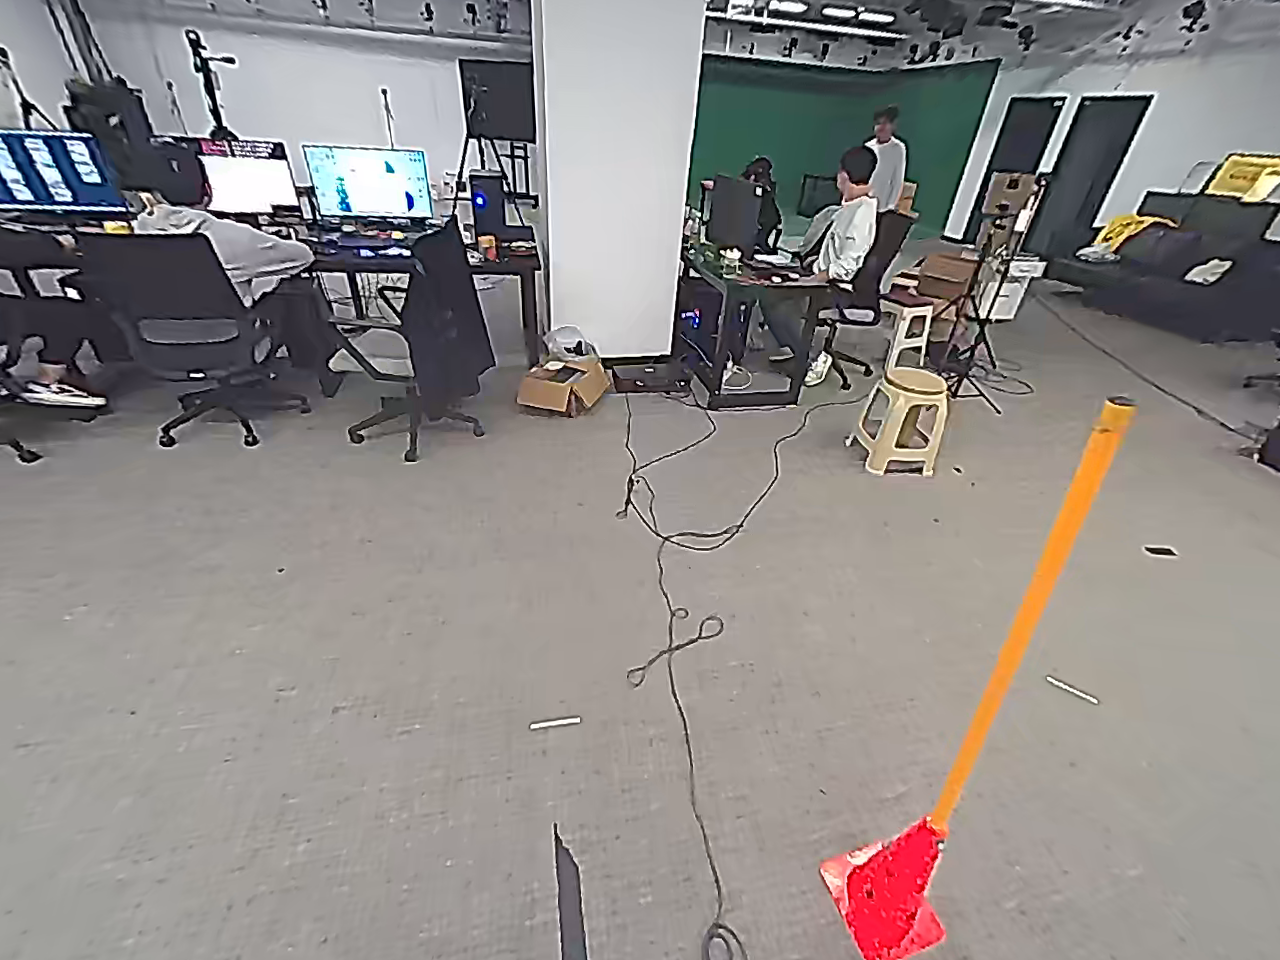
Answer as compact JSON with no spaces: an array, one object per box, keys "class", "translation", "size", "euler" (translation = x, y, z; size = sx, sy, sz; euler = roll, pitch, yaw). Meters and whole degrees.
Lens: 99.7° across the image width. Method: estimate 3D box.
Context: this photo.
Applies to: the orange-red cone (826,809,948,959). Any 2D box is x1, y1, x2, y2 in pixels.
[{"class":"orange-red cone","translation":[0.544,0.778,1.095],"size":[0.199,0.360,0.198],"euler":[-8,34,-15]}]
